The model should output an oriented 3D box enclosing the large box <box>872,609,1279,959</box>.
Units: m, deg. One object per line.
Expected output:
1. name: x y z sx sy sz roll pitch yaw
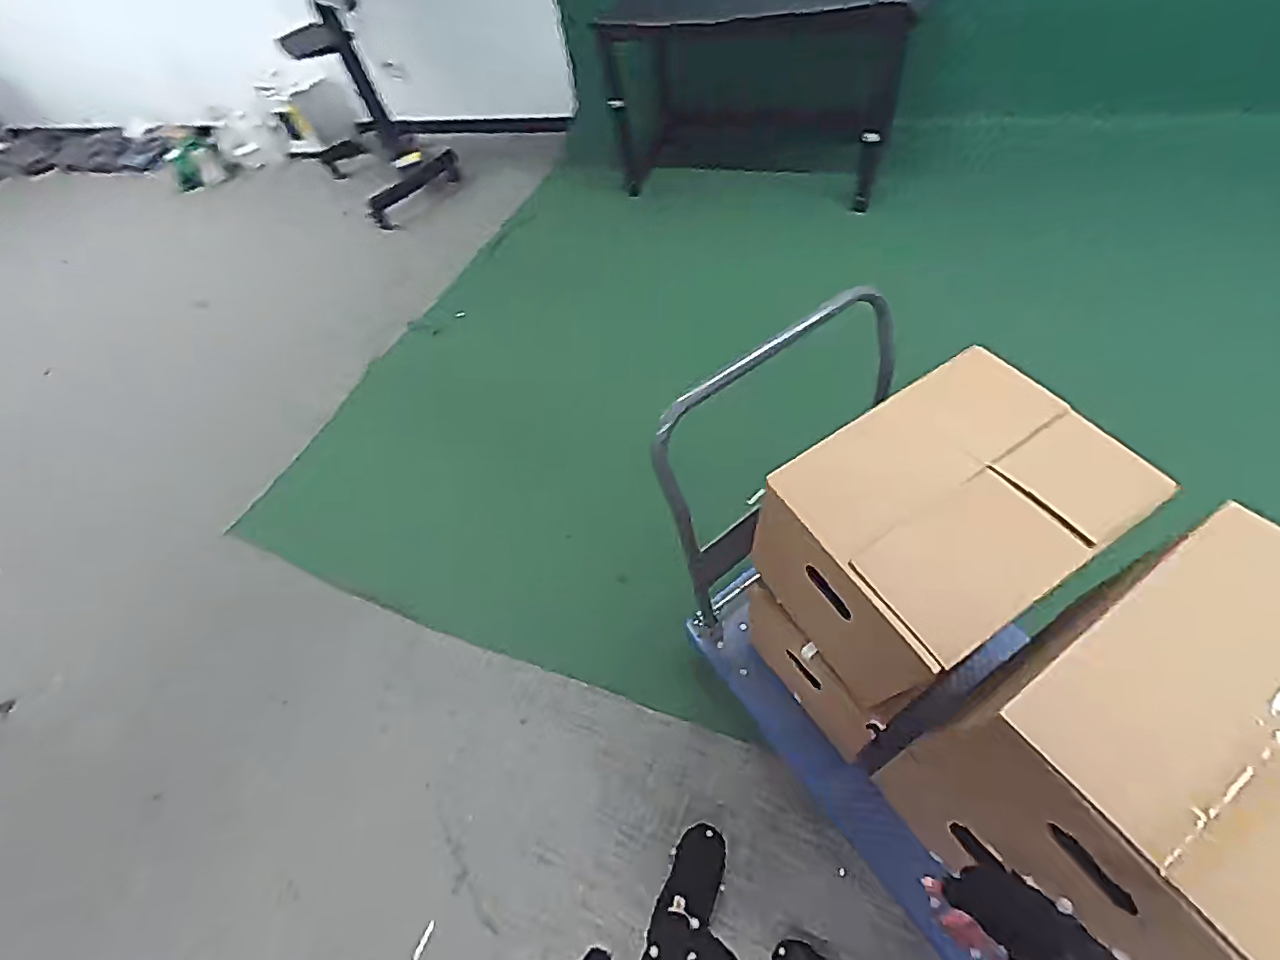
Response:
1. large box: 0.664 0.497 0.896 0.408 0.320 0.320 -34 53 -11
